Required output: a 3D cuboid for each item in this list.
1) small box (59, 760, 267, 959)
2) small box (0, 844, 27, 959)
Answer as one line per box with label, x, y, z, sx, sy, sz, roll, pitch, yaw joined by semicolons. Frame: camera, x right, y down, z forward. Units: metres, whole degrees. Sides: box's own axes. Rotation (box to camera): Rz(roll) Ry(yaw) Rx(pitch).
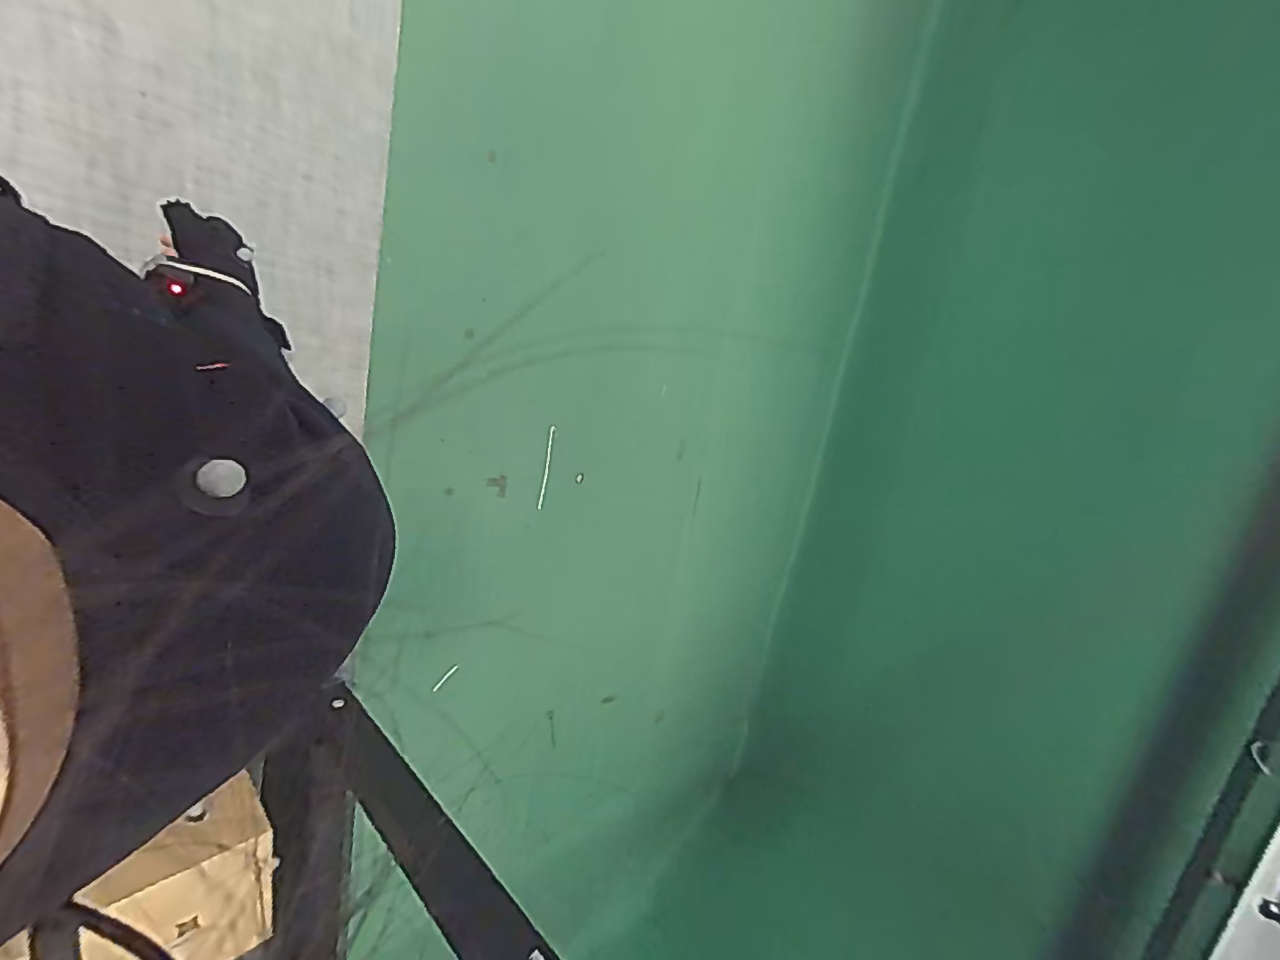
small box;-0.575;0.476;0.655;0.168;0.176;0.179;-6;111;-48
small box;-0.705;0.500;0.510;0.168;0.176;0.179;-5;110;-50
